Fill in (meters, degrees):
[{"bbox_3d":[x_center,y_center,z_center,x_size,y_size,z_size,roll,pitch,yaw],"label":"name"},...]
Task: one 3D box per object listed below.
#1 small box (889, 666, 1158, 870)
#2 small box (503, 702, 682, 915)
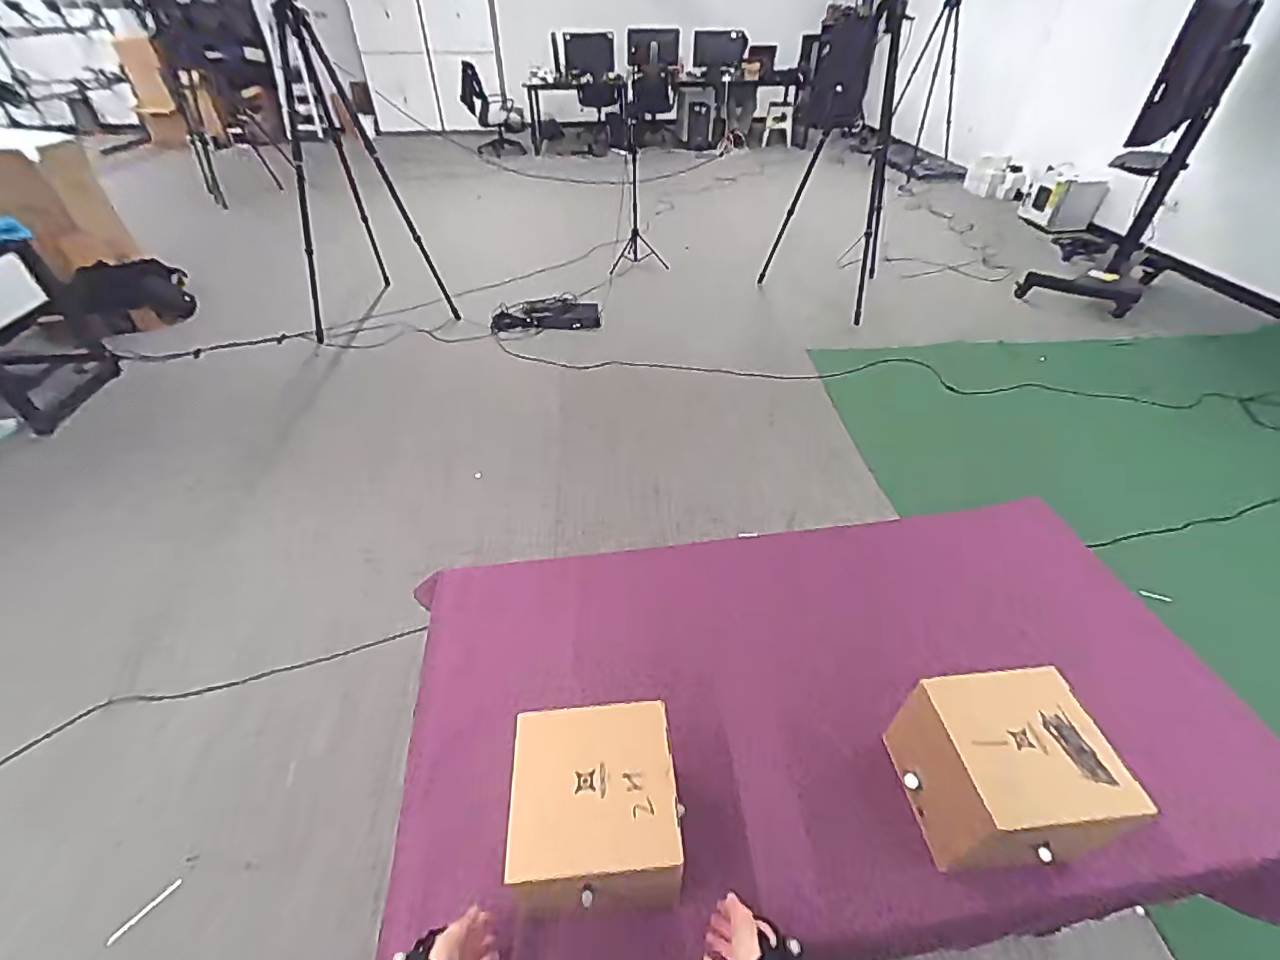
[{"bbox_3d":[0.436,0.348,0.654,0.179,0.176,0.168,-5,42,-3],"label":"small box"},{"bbox_3d":[-0.048,0.380,0.627,0.179,0.176,0.168,-3,42,-3],"label":"small box"}]
